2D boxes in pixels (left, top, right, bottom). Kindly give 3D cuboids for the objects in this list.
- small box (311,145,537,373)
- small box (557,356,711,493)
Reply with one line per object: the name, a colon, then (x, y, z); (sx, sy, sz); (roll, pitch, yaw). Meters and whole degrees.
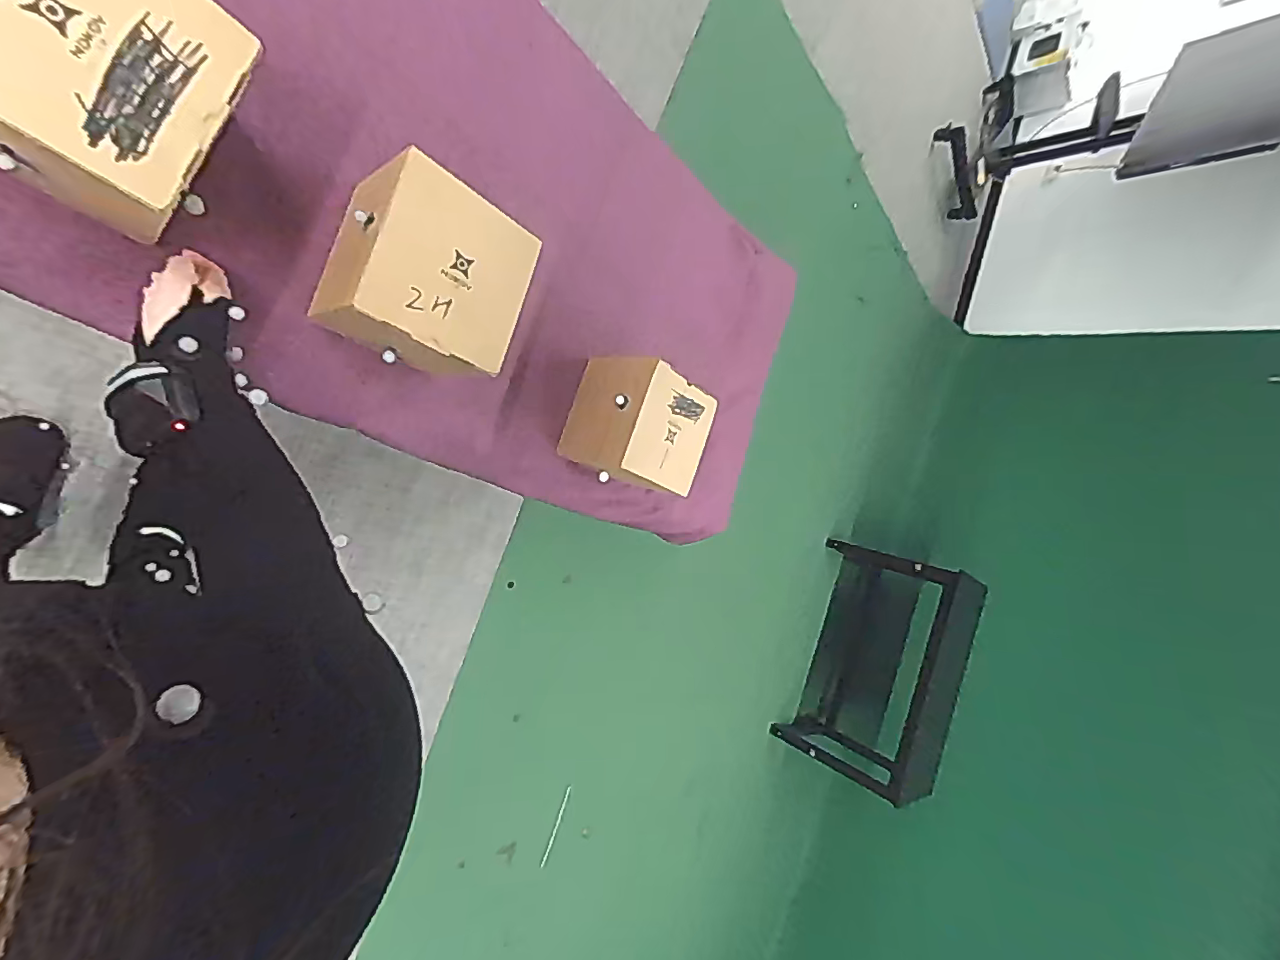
small box: (-0.254, -0.238, 0.632); (0.168, 0.176, 0.179); (23, 82, -45)
small box: (-0.013, -0.095, 0.910); (0.168, 0.176, 0.179); (25, 82, -45)
